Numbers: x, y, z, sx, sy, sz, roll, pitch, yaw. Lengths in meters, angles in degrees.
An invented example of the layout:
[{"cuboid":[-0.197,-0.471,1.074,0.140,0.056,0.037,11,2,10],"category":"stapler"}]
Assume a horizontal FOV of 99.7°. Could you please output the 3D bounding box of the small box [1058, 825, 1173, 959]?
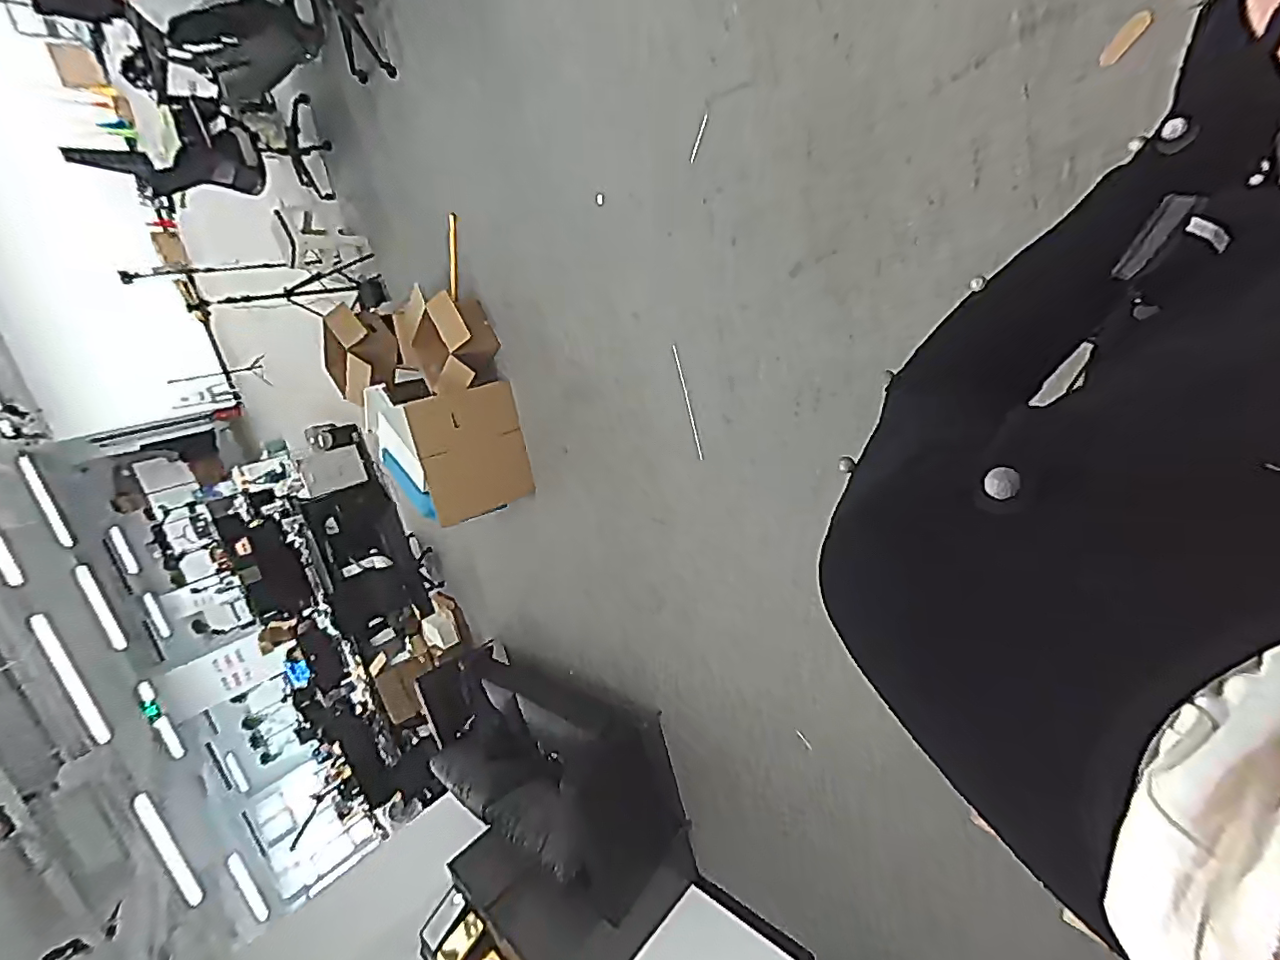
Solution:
[{"cuboid":[1.083,0.943,1.230,0.168,0.176,0.179,14,117,44],"category":"small box"}]
